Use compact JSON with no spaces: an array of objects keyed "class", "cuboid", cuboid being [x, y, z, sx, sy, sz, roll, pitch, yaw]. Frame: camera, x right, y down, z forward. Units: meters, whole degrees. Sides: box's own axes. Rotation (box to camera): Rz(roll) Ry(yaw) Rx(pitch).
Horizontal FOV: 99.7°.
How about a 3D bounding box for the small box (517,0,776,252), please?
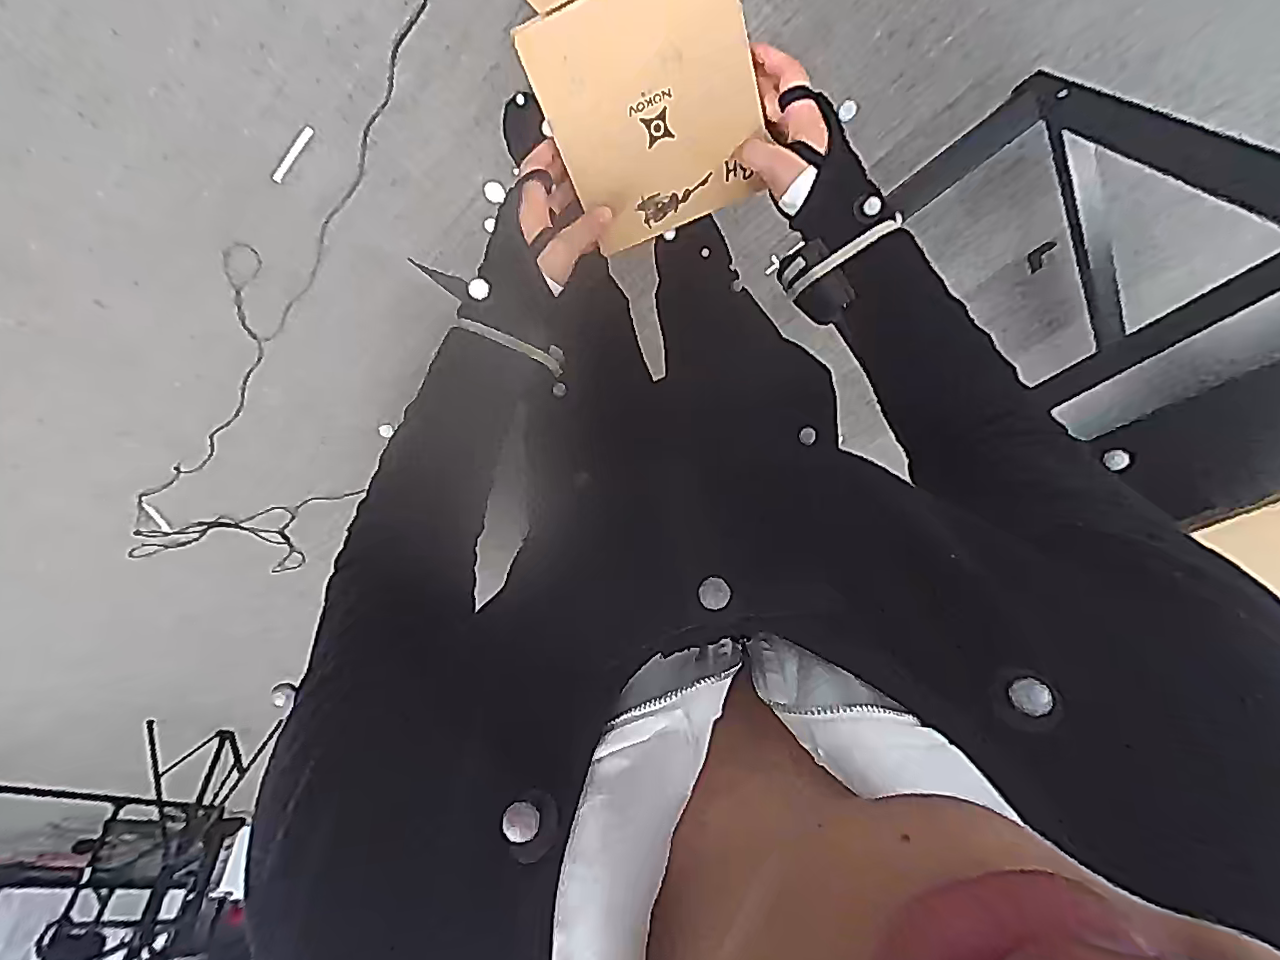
[{"class":"small box","cuboid":[0.007,-0.347,0.495,0.168,0.176,0.179,-20,129,11]}]
